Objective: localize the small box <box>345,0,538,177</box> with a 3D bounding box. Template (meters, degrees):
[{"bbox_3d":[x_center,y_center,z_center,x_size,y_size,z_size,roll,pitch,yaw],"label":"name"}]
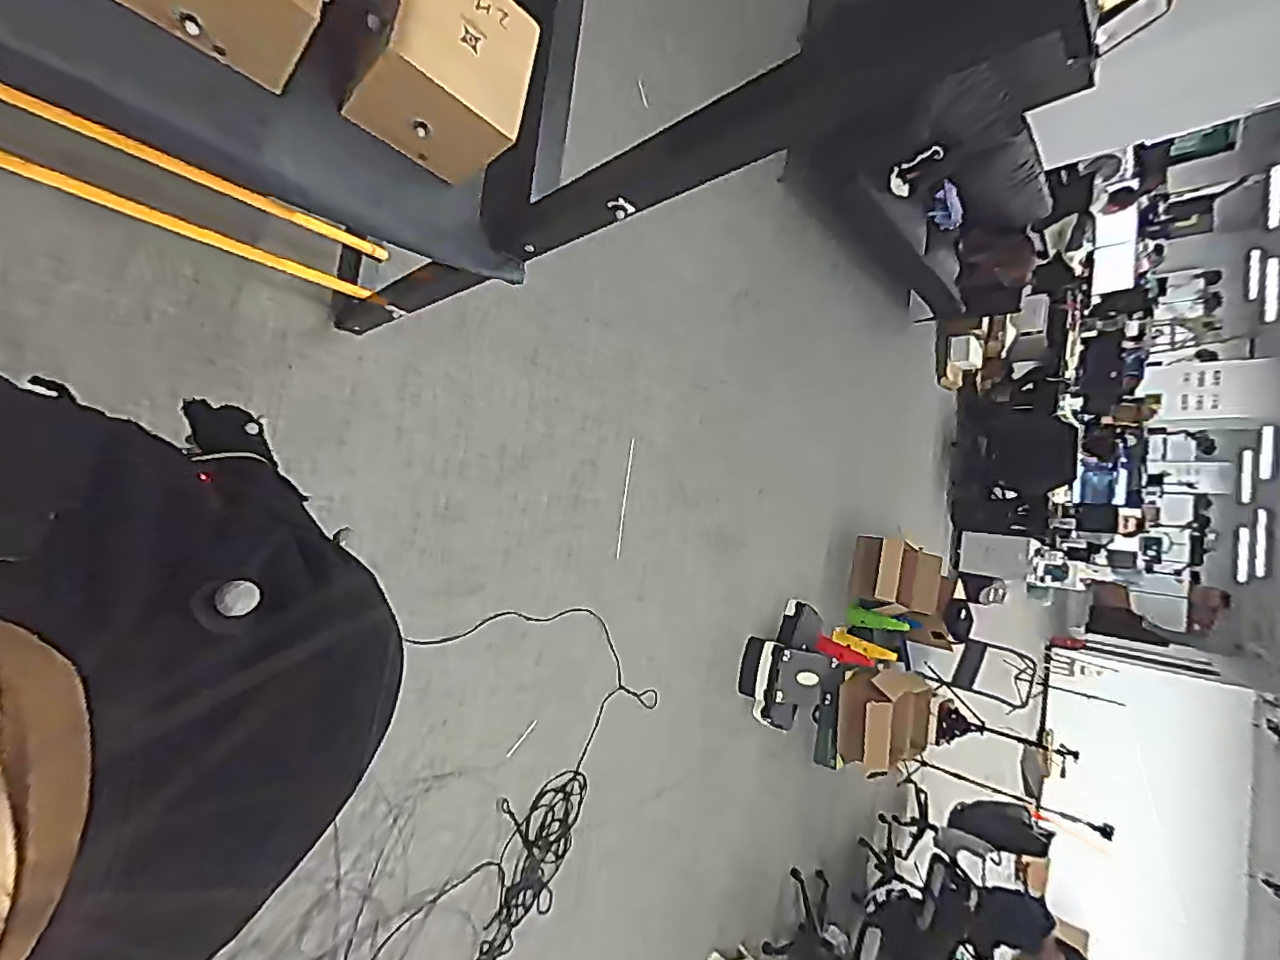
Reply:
[{"bbox_3d":[-0.262,-0.540,0.708,0.168,0.176,0.179,17,79,-45],"label":"small box"}]
